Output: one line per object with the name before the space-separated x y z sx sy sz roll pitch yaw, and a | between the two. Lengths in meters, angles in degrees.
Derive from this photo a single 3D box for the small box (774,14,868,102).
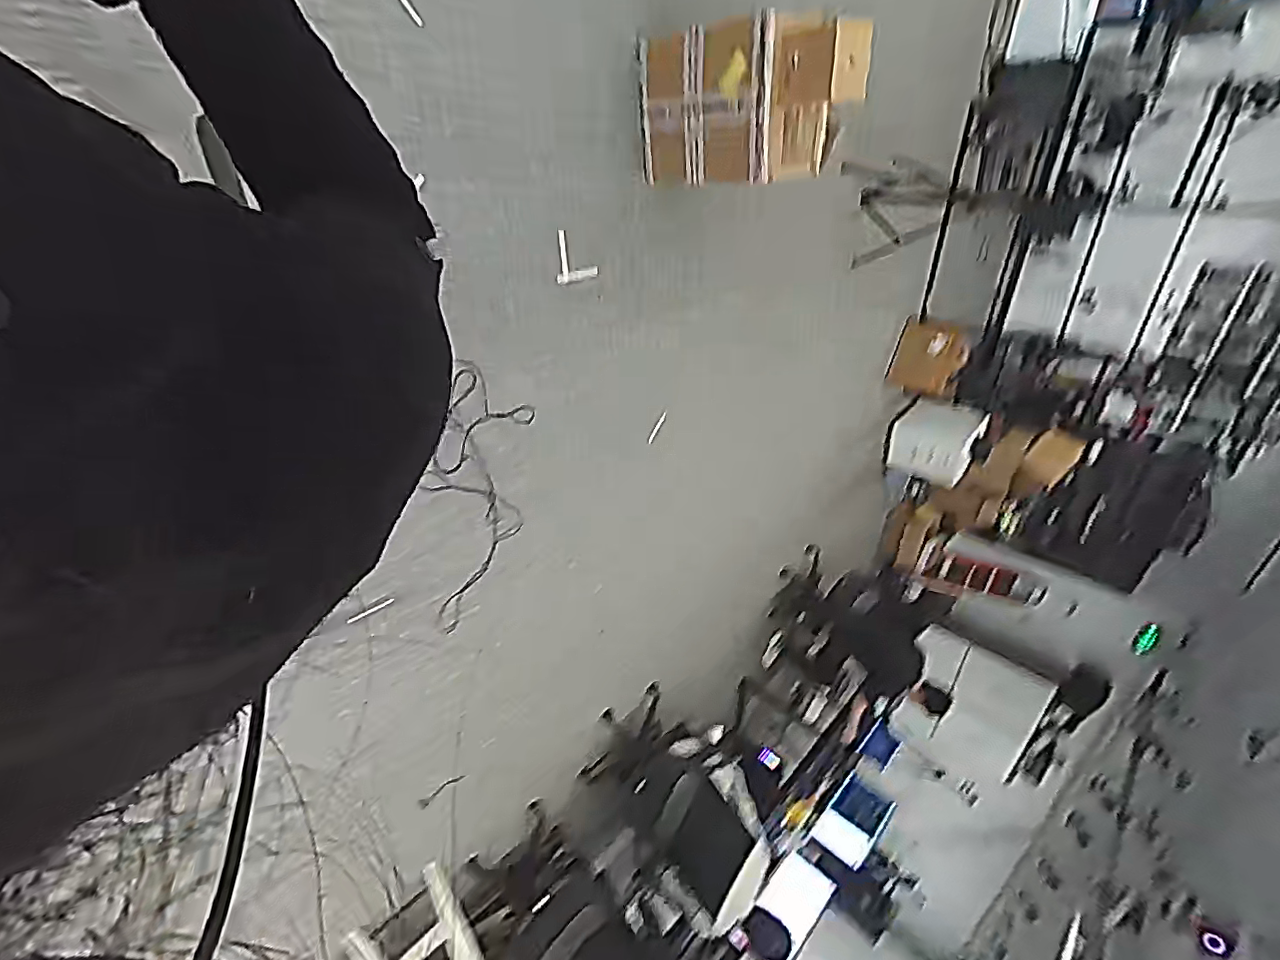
small box | 0.485 -1.133 1.460 0.179 0.176 0.168 -28 128 -31
